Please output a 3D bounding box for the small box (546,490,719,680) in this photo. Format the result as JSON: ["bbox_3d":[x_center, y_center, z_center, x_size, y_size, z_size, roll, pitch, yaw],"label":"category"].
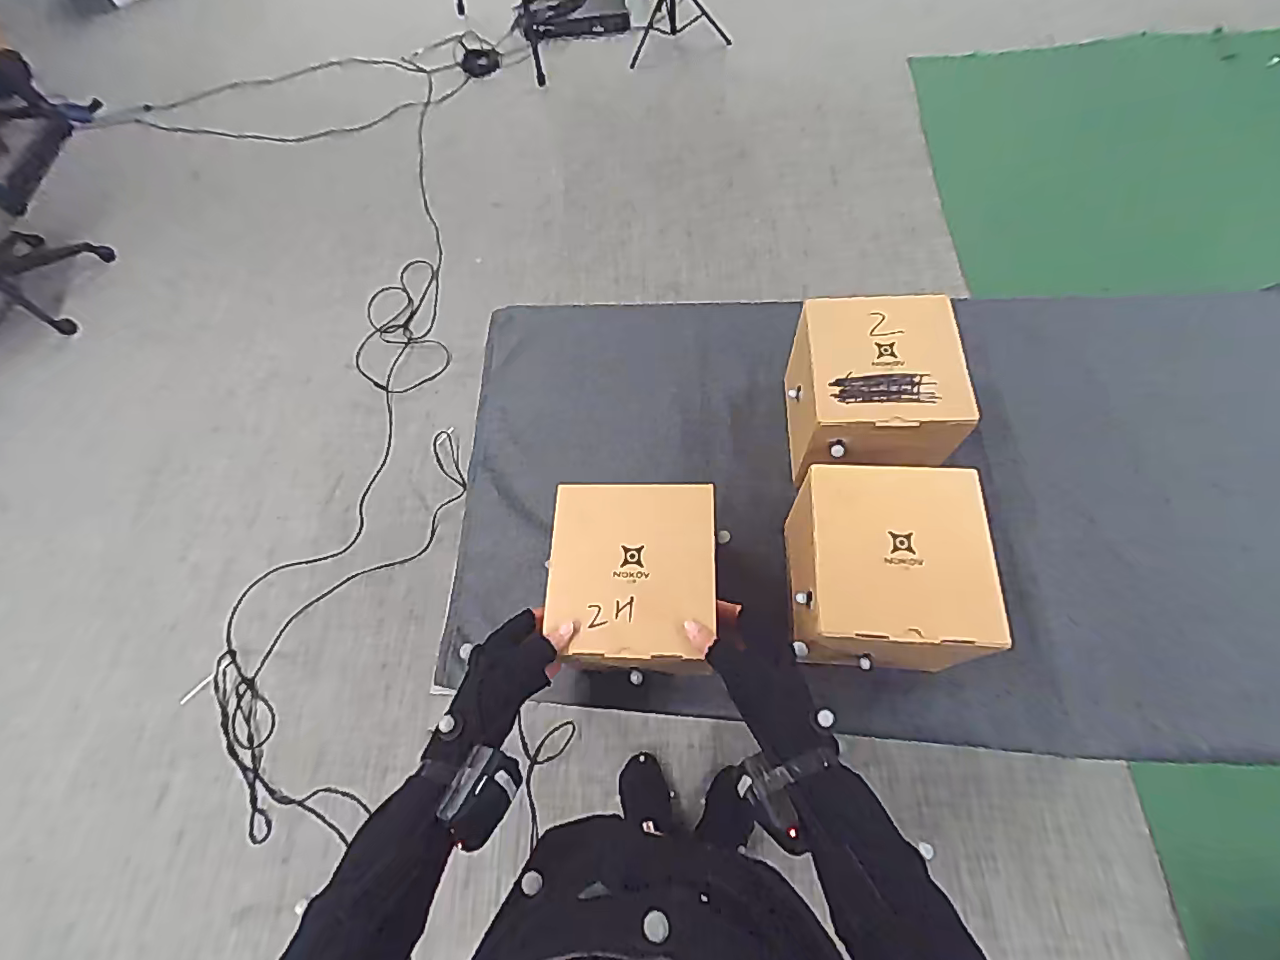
[{"bbox_3d":[0.002,0.123,0.611,0.168,0.176,0.179,0,66,6],"label":"small box"}]
